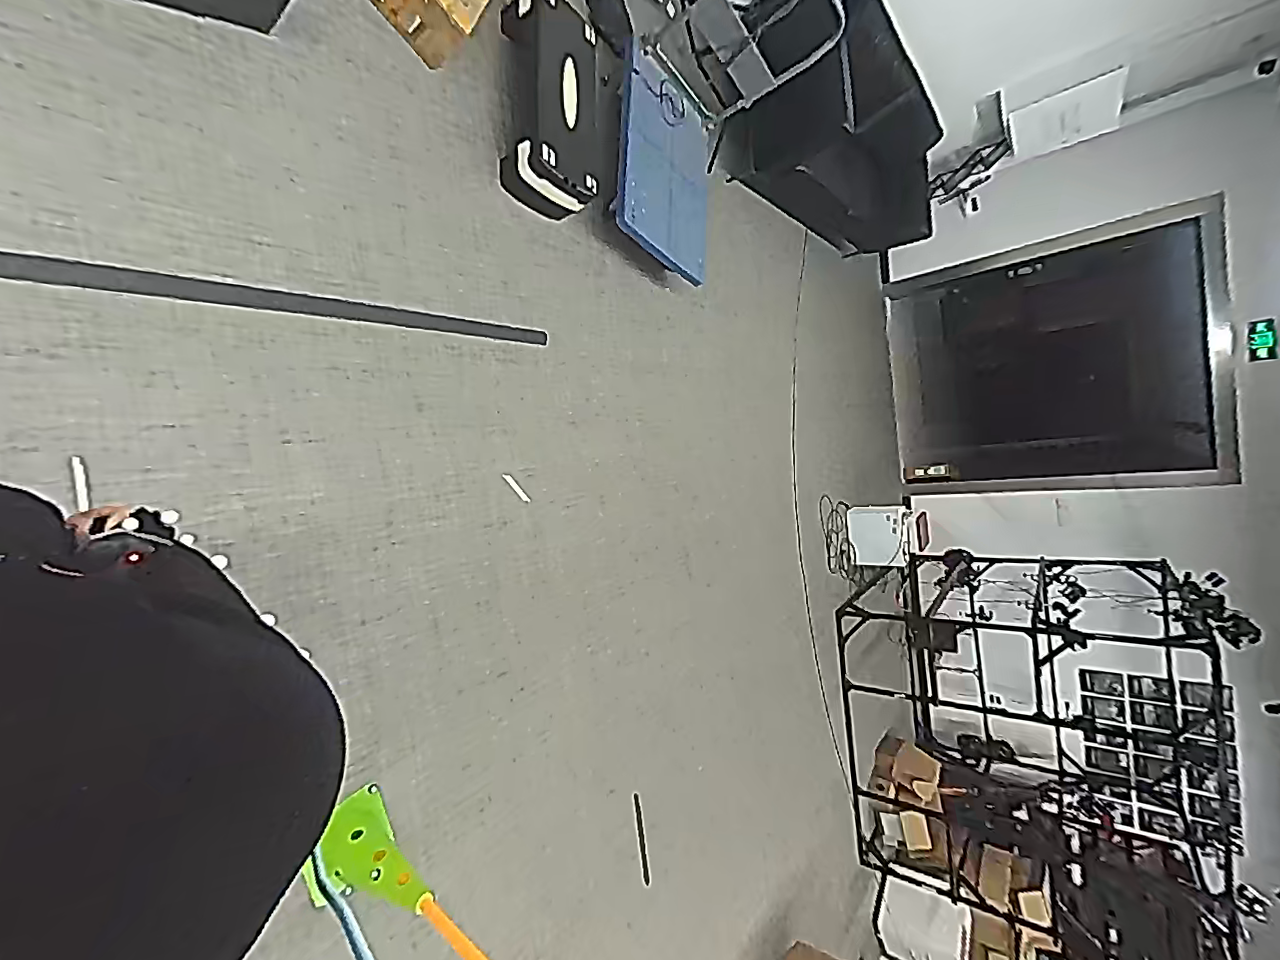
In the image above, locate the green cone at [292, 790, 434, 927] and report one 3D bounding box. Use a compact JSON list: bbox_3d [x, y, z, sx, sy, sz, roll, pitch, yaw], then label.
[{"bbox_3d":[-0.577,0.882,1.196,0.200,0.368,0.202,-25,108,-50],"label":"green cone"}]
